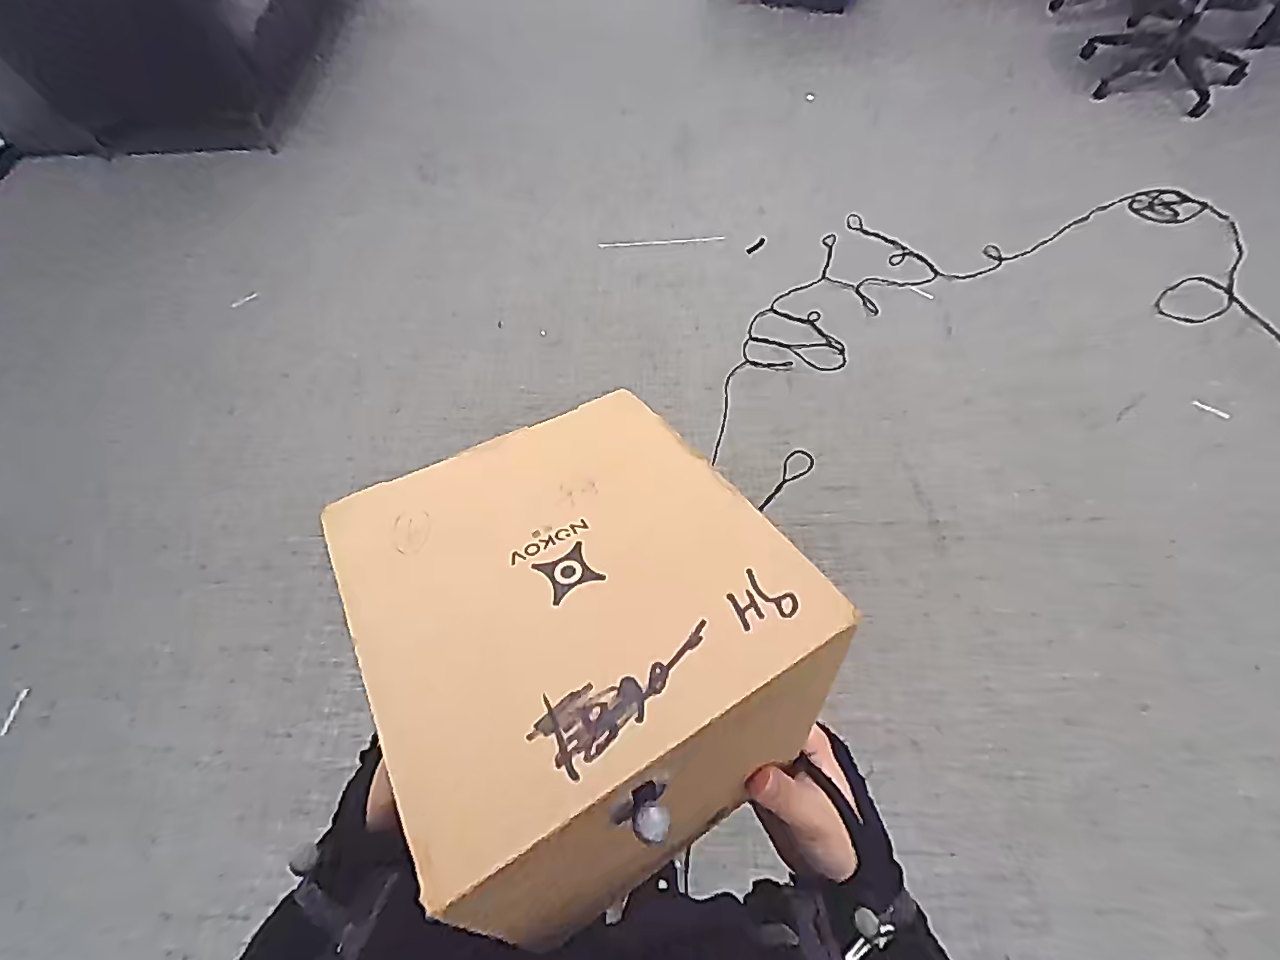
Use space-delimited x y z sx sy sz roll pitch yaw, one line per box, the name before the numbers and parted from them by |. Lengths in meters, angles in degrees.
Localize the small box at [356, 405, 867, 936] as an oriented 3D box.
small box | -0.020 0.094 0.290 0.168 0.176 0.179 -27 49 -19
